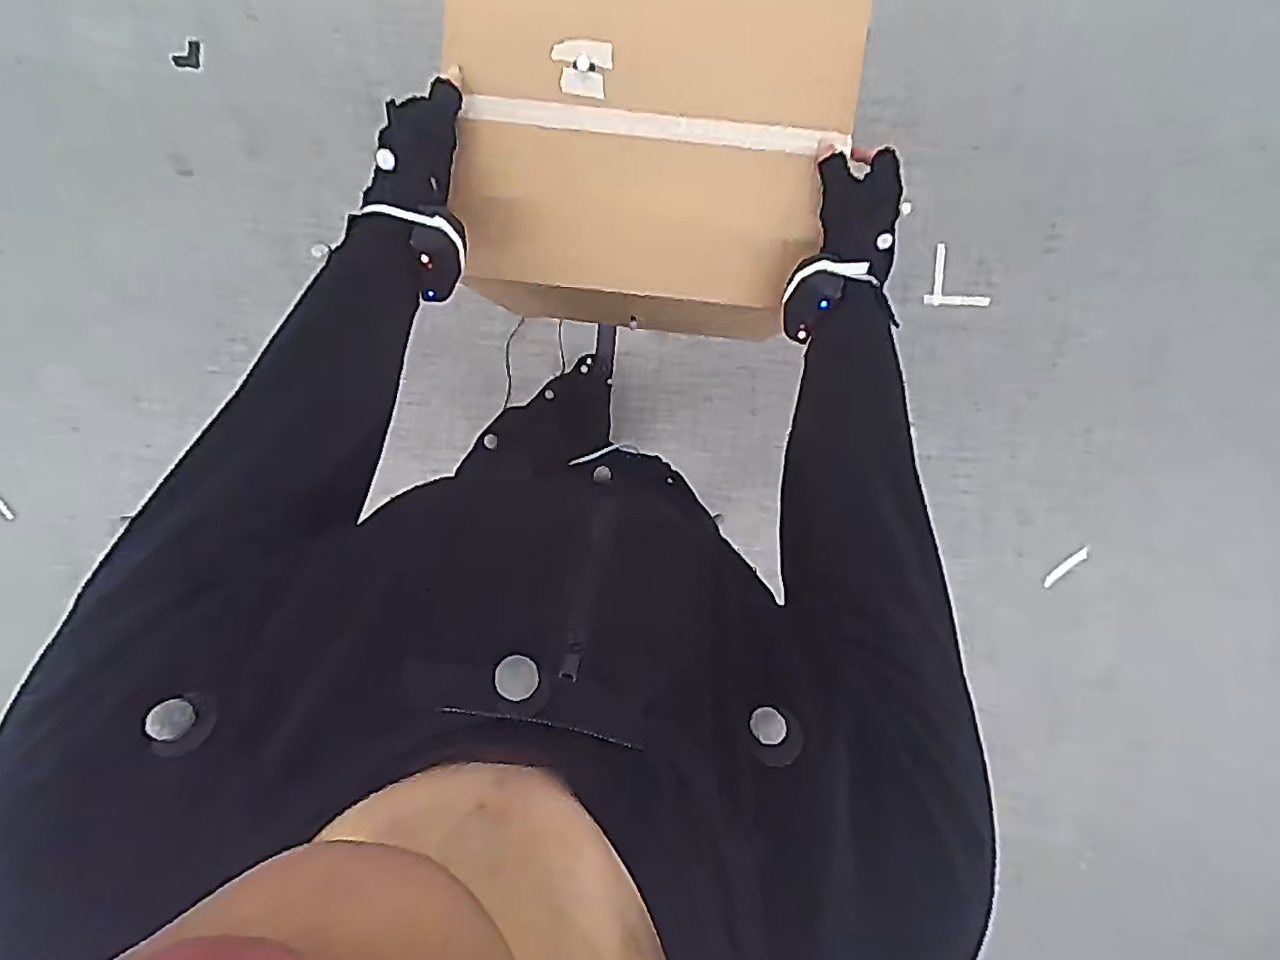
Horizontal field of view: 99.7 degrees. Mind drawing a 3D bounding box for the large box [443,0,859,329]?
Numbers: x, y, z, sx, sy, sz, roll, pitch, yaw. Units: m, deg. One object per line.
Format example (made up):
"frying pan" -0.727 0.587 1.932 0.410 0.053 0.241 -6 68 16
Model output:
"large box" 0.008 -0.378 0.690 0.408 0.320 0.320 6 99 0
